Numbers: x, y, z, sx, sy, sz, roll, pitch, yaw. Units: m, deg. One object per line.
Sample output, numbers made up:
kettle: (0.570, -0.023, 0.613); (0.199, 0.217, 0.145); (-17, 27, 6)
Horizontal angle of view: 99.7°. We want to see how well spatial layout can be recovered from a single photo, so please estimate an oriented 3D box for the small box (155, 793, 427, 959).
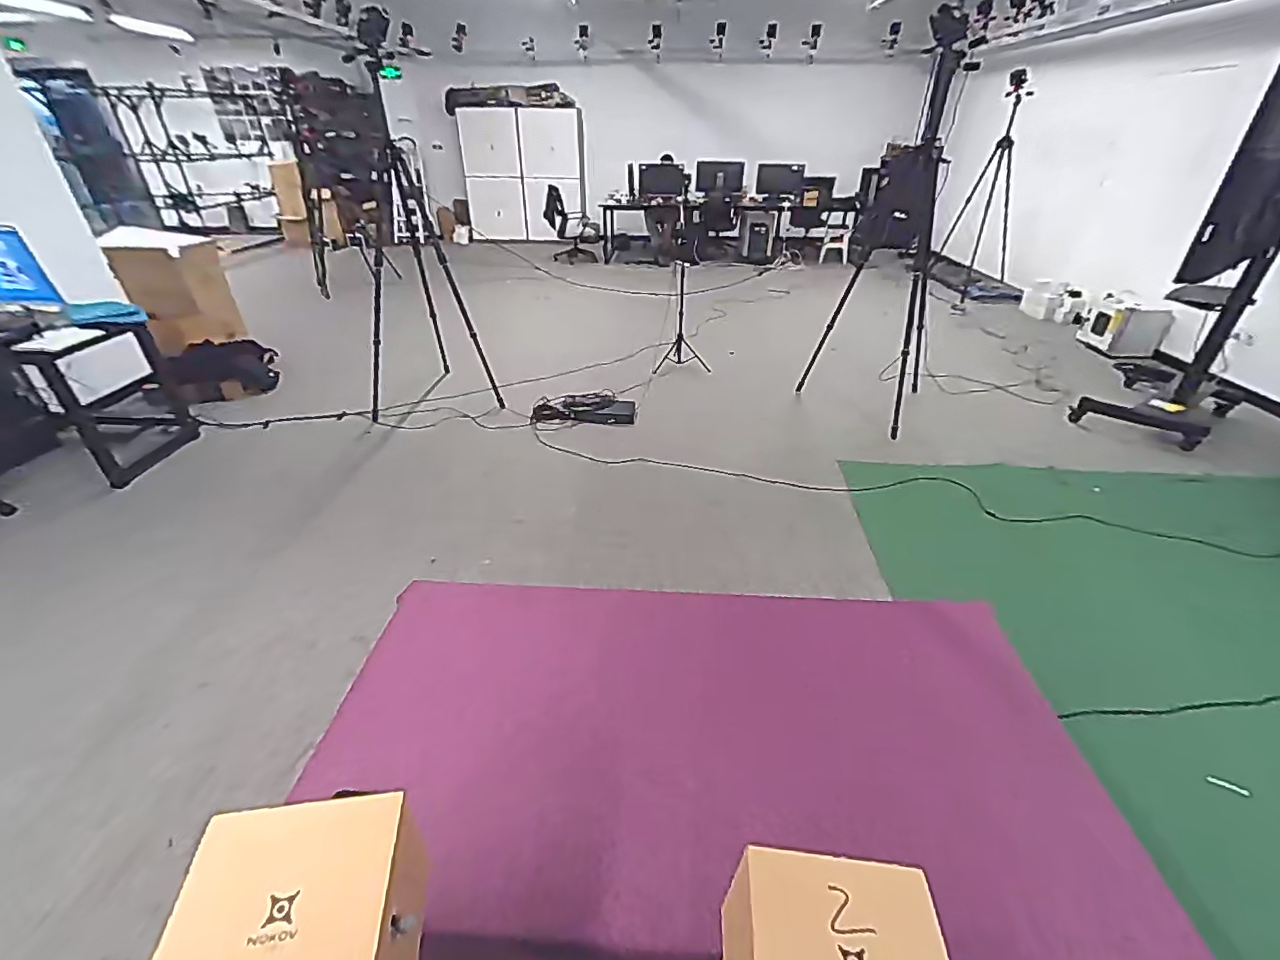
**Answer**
small box: (-0.296, 0.415, 0.483); (0.168, 0.176, 0.179); (-1, 38, -10)
